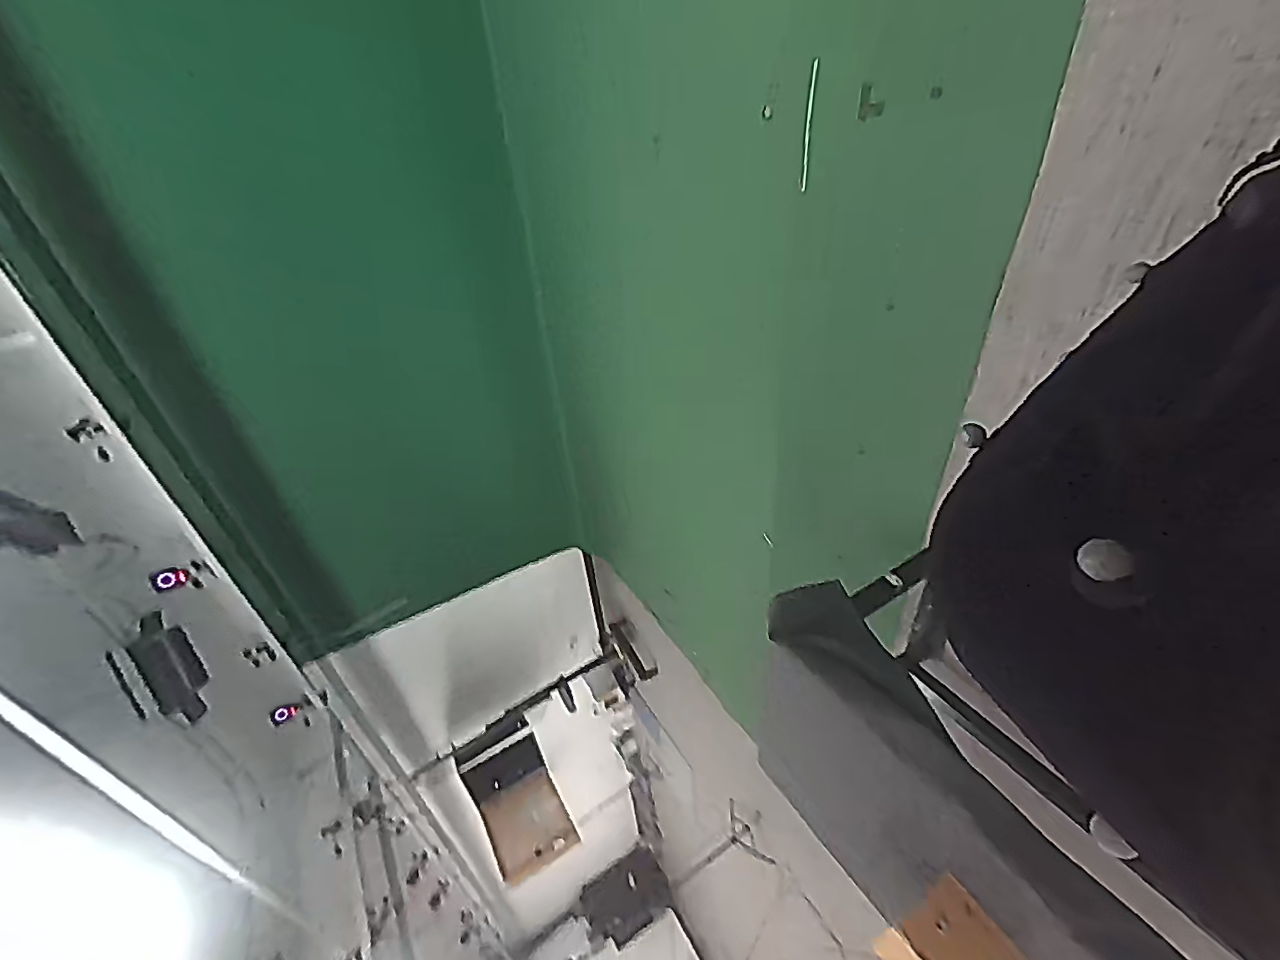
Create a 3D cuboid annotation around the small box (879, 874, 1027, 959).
[{"bbox_3d":[0.594,0.898,1.026,0.168,0.176,0.179,45,150,44],"label":"small box"}]
